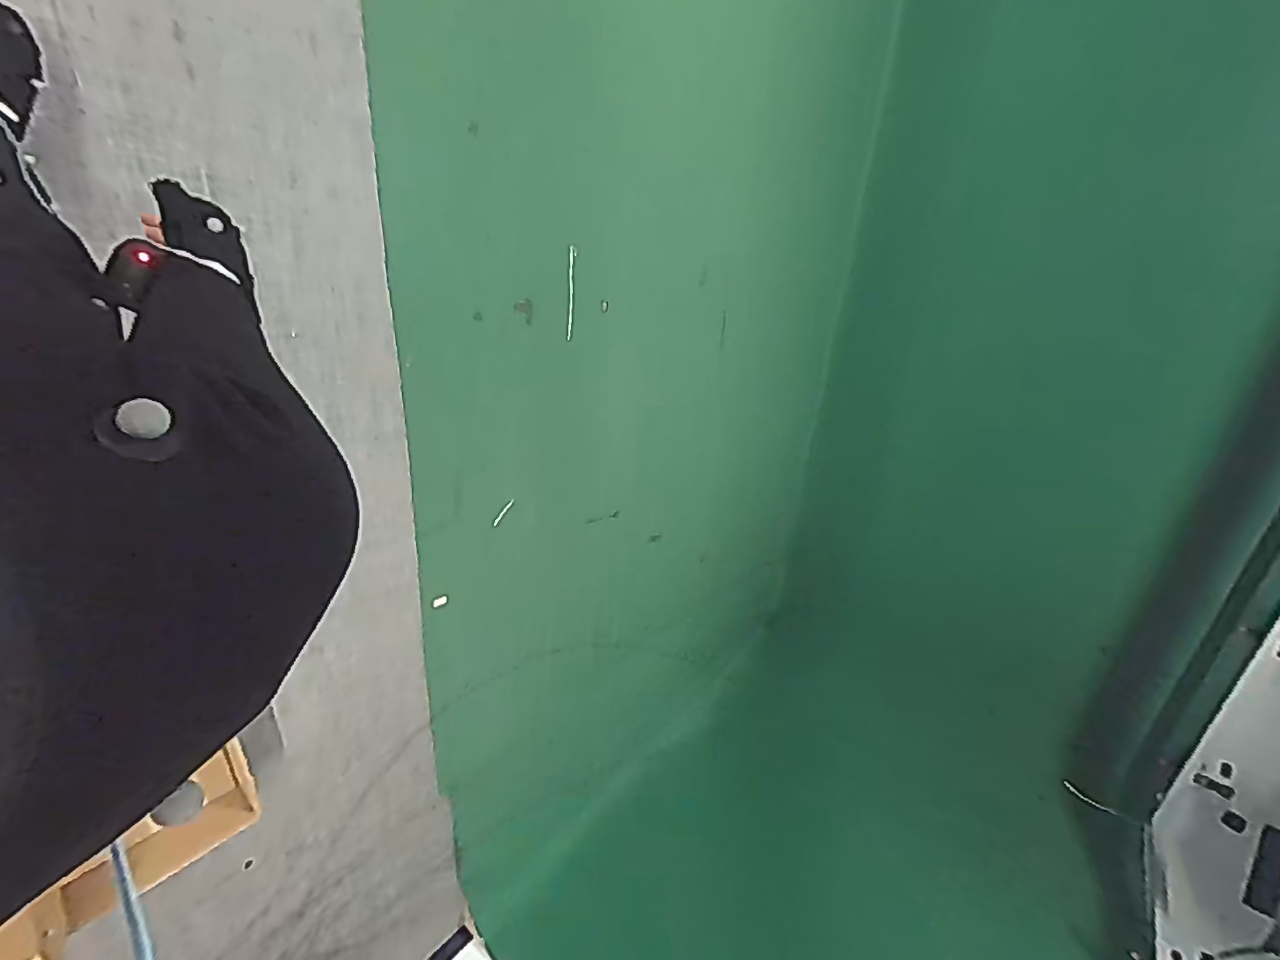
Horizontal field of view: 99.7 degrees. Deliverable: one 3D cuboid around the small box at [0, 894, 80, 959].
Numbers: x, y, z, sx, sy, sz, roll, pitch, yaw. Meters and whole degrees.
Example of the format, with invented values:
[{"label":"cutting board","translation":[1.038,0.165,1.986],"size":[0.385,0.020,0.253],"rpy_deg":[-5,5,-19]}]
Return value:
[{"label":"small box","translation":[-1.168,0.917,0.992],"size":[0.168,0.176,0.179],"rpy_deg":[-24,126,-46]}]
